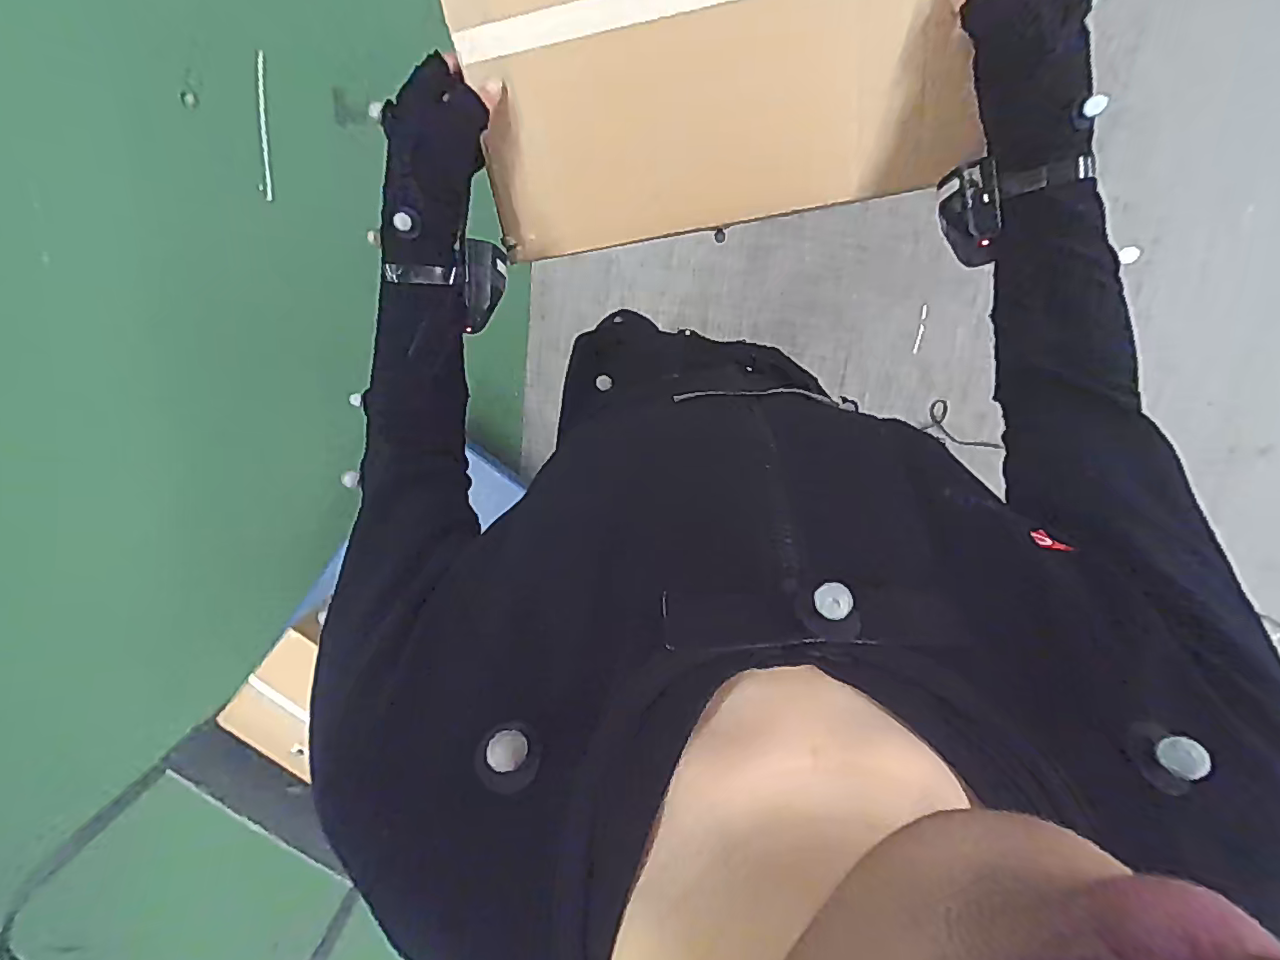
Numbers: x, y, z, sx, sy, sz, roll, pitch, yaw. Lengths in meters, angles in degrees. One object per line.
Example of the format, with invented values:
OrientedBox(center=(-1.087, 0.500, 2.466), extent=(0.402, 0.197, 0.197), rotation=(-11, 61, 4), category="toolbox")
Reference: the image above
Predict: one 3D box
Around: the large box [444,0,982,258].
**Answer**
OrientedBox(center=(0.060, -0.426, 0.537), extent=(0.408, 0.320, 0.320), rotation=(-7, 114, 7), category="large box")
